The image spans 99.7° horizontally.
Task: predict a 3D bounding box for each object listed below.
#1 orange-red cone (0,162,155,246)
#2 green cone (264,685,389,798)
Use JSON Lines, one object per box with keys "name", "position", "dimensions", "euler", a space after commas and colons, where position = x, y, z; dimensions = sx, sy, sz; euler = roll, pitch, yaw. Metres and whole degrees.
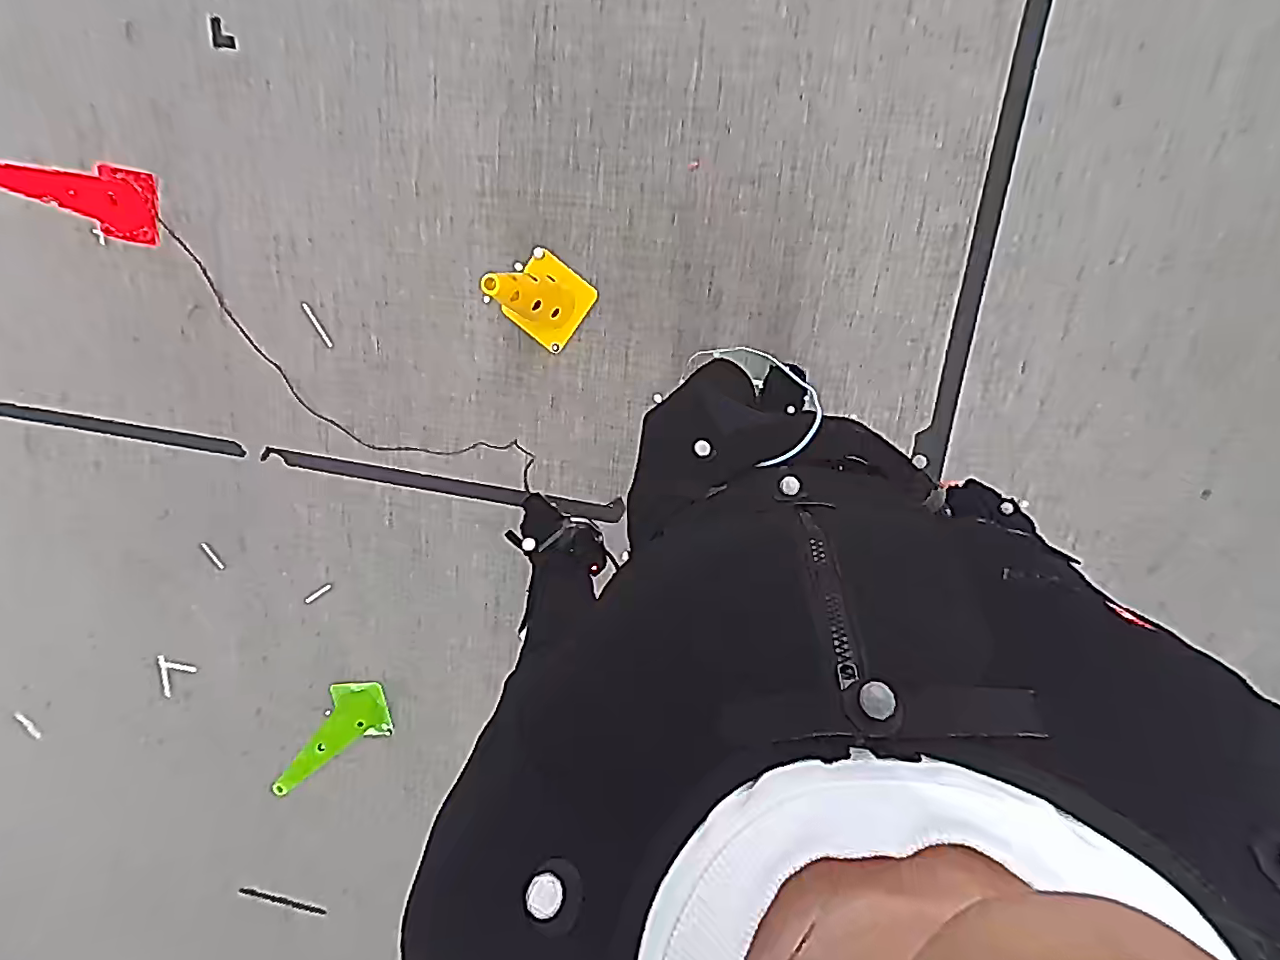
{"name": "orange-red cone", "position": [-1.519, -0.756, 1.402], "dimensions": [0.199, 0.360, 0.198], "euler": [15, 106, 5]}
{"name": "green cone", "position": [-0.991, 0.825, 1.674], "dimensions": [0.202, 0.368, 0.200], "euler": [-7, 101, 13]}
